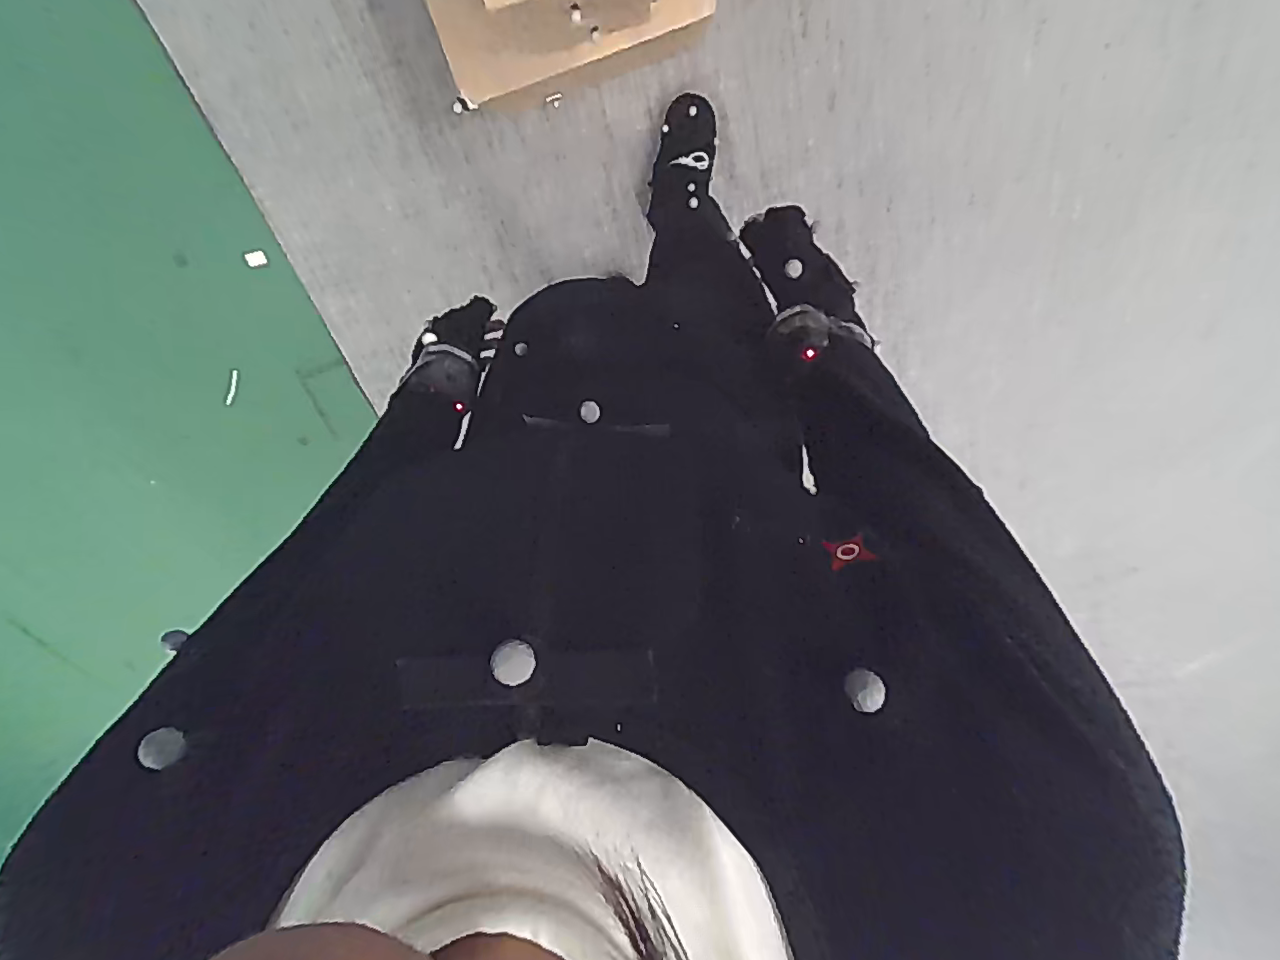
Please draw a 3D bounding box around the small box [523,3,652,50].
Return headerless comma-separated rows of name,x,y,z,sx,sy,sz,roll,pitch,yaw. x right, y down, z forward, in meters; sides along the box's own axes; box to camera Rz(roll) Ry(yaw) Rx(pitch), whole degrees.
small box,-0.082,-0.673,0.683,0.168,0.176,0.179,-11,123,9
